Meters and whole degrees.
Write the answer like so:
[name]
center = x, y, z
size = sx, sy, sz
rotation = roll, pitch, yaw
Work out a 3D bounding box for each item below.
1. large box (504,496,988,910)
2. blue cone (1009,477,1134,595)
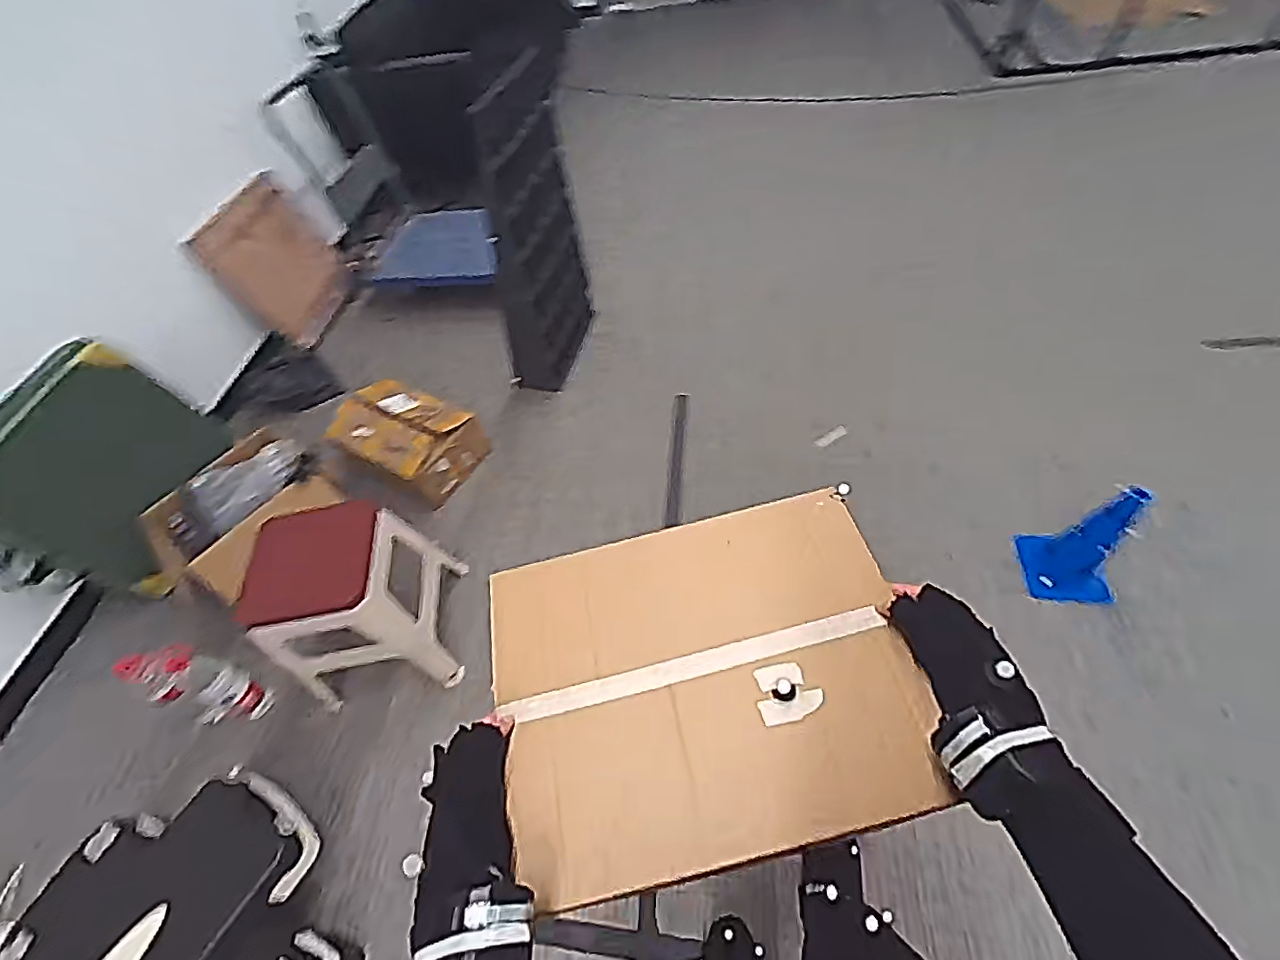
[large box]
center = 0.085, 0.270, 0.644
size = 0.408, 0.320, 0.320
rotation = -13, 53, -1
[blue cone]
center = 1.122, 0.128, 1.362
size = 0.193, 0.380, 0.192
rotation = 3, 53, 11
